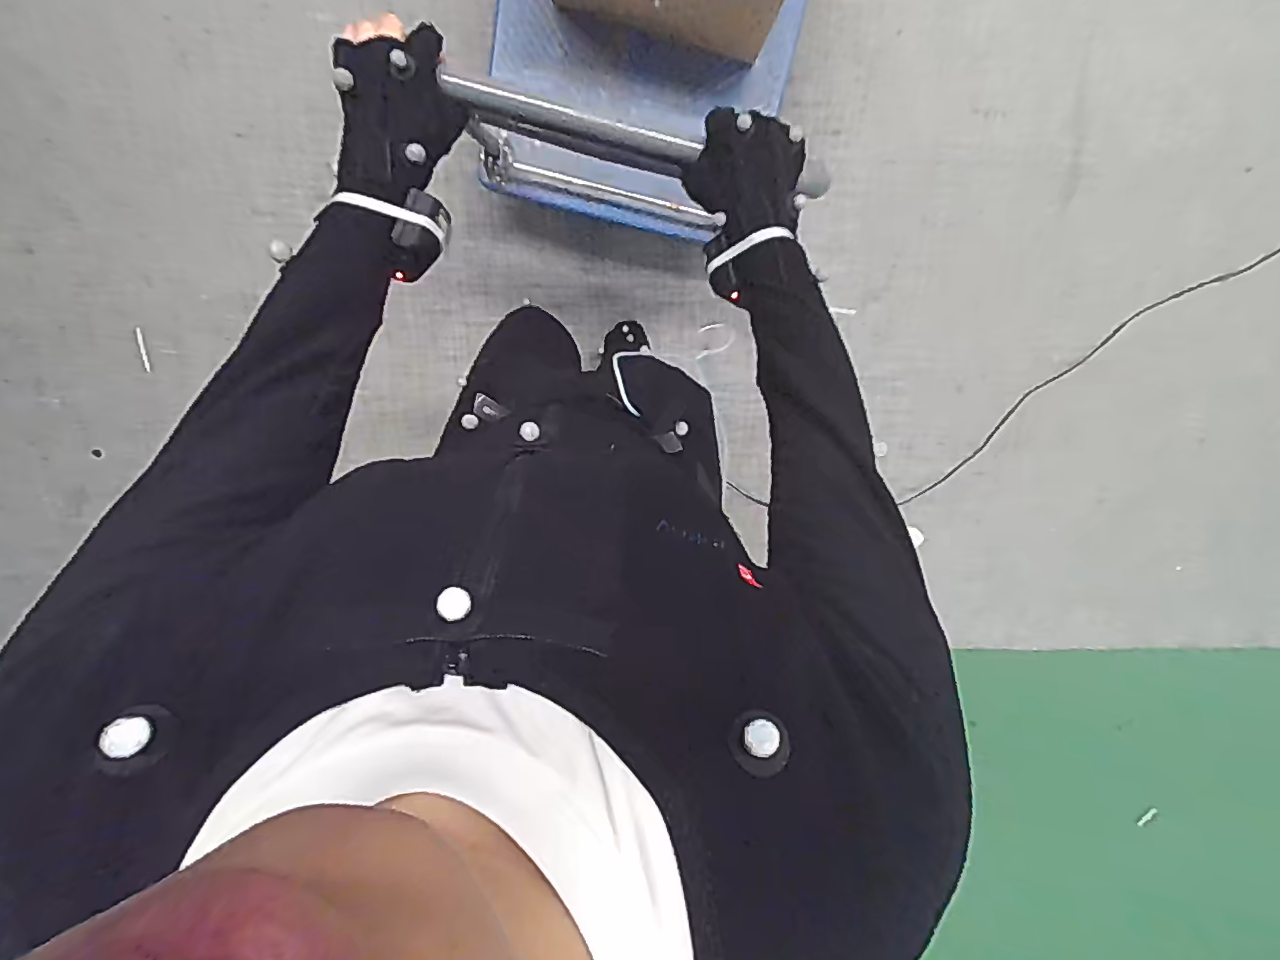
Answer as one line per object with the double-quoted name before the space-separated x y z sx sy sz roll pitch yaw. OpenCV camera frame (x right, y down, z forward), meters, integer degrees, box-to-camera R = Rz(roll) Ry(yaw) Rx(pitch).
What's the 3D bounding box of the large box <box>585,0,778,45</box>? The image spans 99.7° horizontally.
"large box" 0.068 -0.979 0.856 0.408 0.320 0.320 13 106 -4
